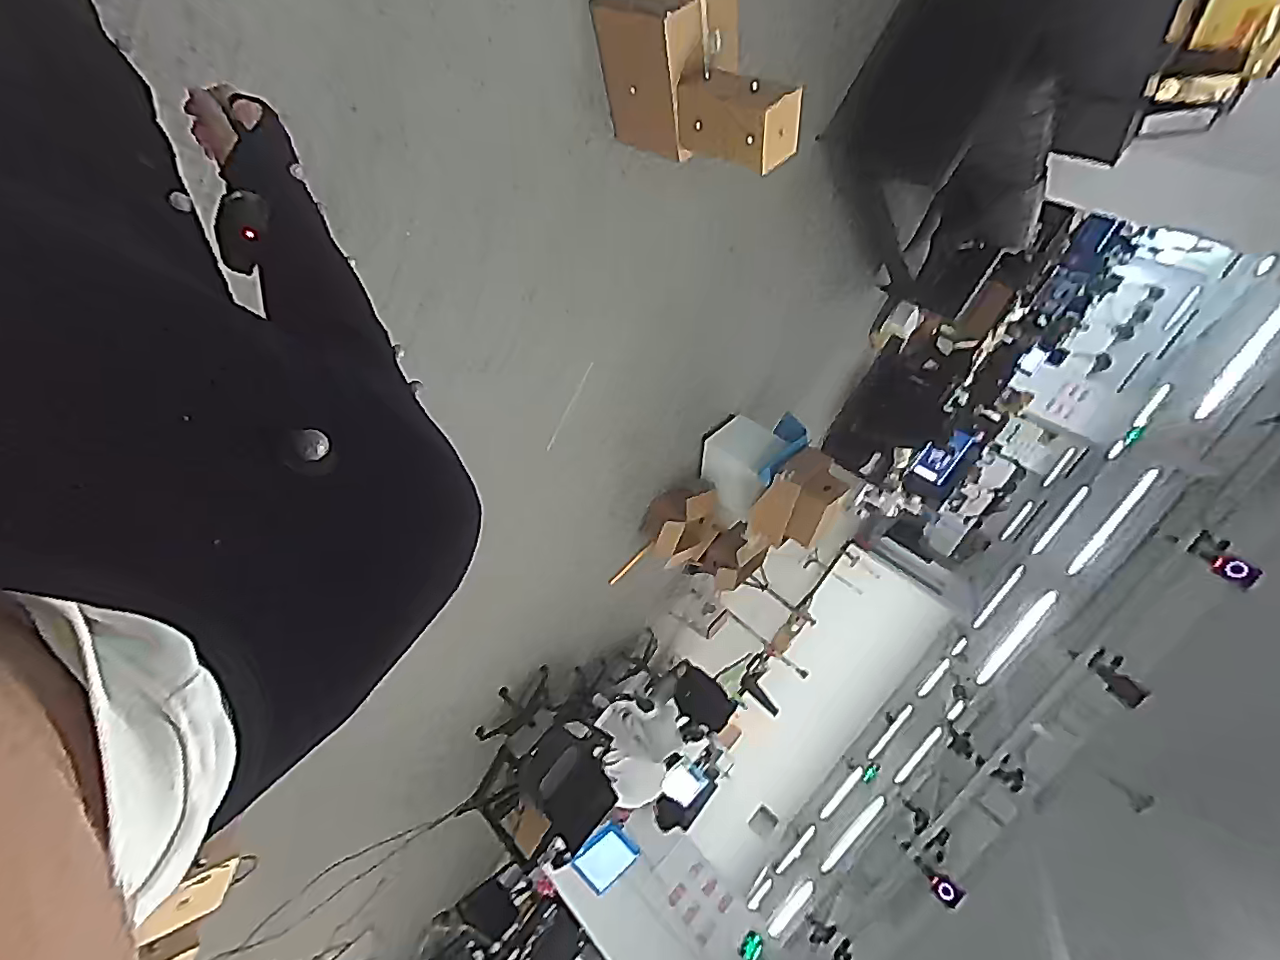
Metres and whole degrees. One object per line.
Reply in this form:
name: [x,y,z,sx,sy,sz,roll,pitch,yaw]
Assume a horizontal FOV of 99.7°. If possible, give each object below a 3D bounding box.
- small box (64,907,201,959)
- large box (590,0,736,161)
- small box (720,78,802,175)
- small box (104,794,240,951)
small box: [-1.139,1.060,1.213,0.179,0.176,0.168,8,116,-58]
large box: [0.090,-1.335,1.735,0.320,0.320,0.408,-46,151,-15]
small box: [0.348,-1.041,1.589,0.168,0.176,0.179,-42,150,-18]
small box: [-0.995,0.817,1.145,0.168,0.176,0.179,3,121,-58]
